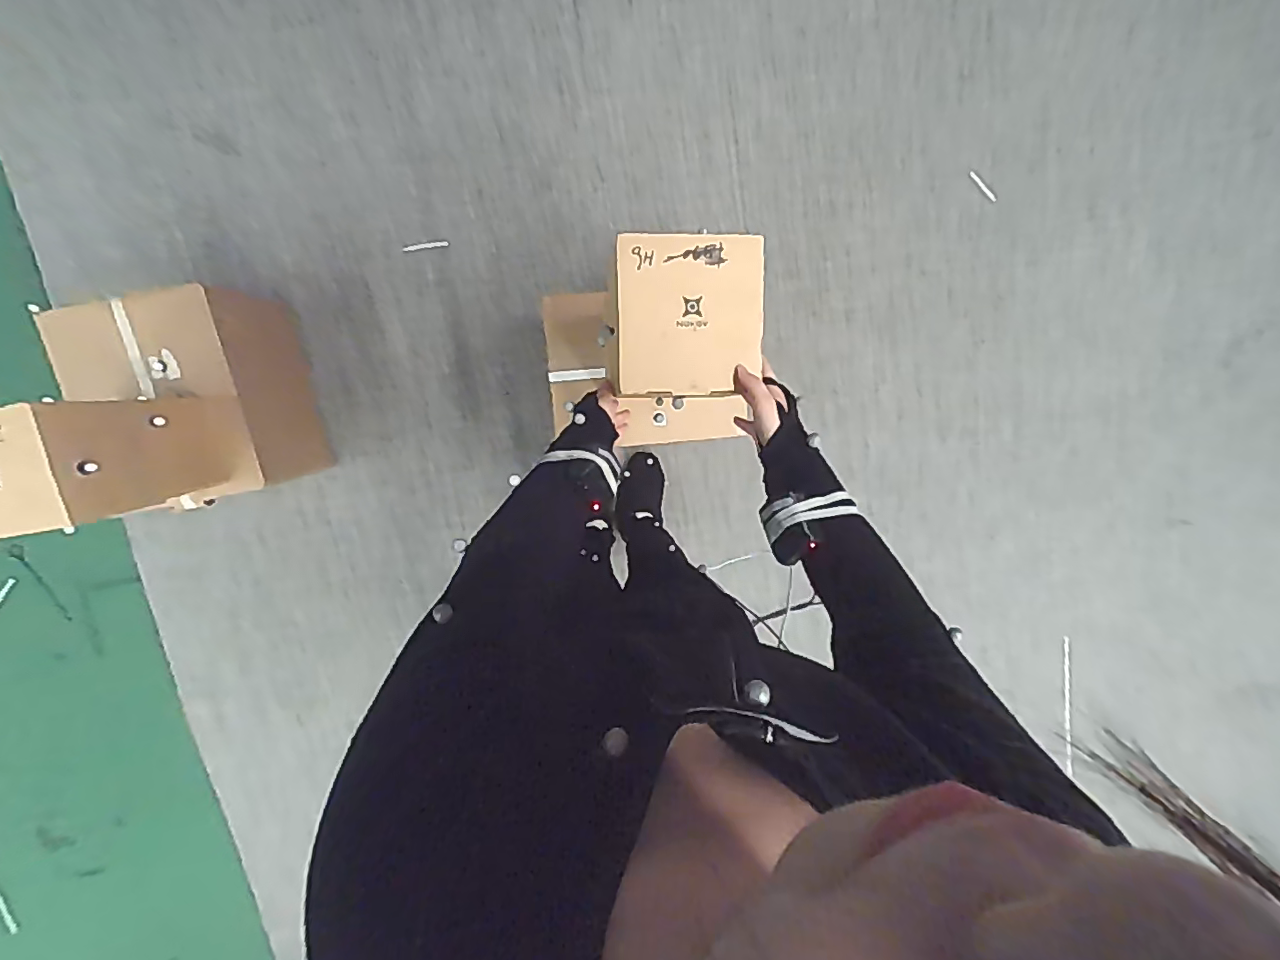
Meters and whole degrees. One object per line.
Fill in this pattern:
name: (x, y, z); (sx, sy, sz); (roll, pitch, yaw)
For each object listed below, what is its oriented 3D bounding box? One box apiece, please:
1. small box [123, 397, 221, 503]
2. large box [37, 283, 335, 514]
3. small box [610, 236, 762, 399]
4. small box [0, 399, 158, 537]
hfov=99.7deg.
small box: (-0.898, -0.050, 0.964); (0.168, 0.176, 0.179); (-9, 99, -3)
large box: (-0.944, -0.173, 1.187); (0.320, 0.320, 0.408); (-11, 99, -3)
small box: (0.047, -0.192, 0.685); (0.168, 0.176, 0.179); (-1, 98, -5)
small box: (-0.877, -0.023, 0.802); (0.168, 0.176, 0.179); (-9, 99, -4)
